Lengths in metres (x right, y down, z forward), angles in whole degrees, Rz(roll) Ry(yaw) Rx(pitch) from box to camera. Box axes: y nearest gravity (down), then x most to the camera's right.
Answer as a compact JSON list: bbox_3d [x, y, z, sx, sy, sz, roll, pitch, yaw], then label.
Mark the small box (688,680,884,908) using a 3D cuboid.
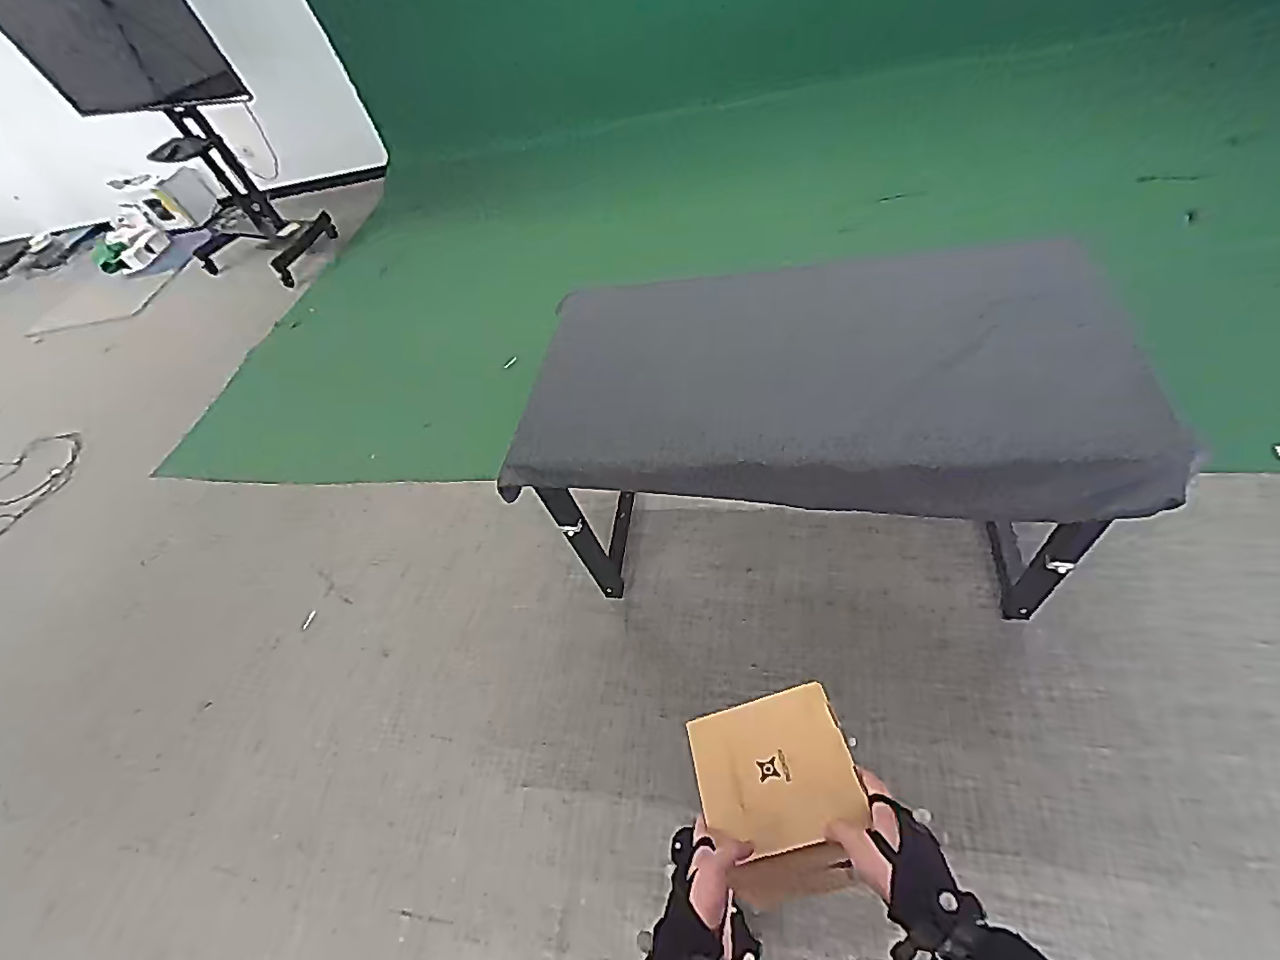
[{"bbox_3d":[0.175,0.376,0.648,0.179,0.176,0.168,-20,34,9],"label":"small box"}]
